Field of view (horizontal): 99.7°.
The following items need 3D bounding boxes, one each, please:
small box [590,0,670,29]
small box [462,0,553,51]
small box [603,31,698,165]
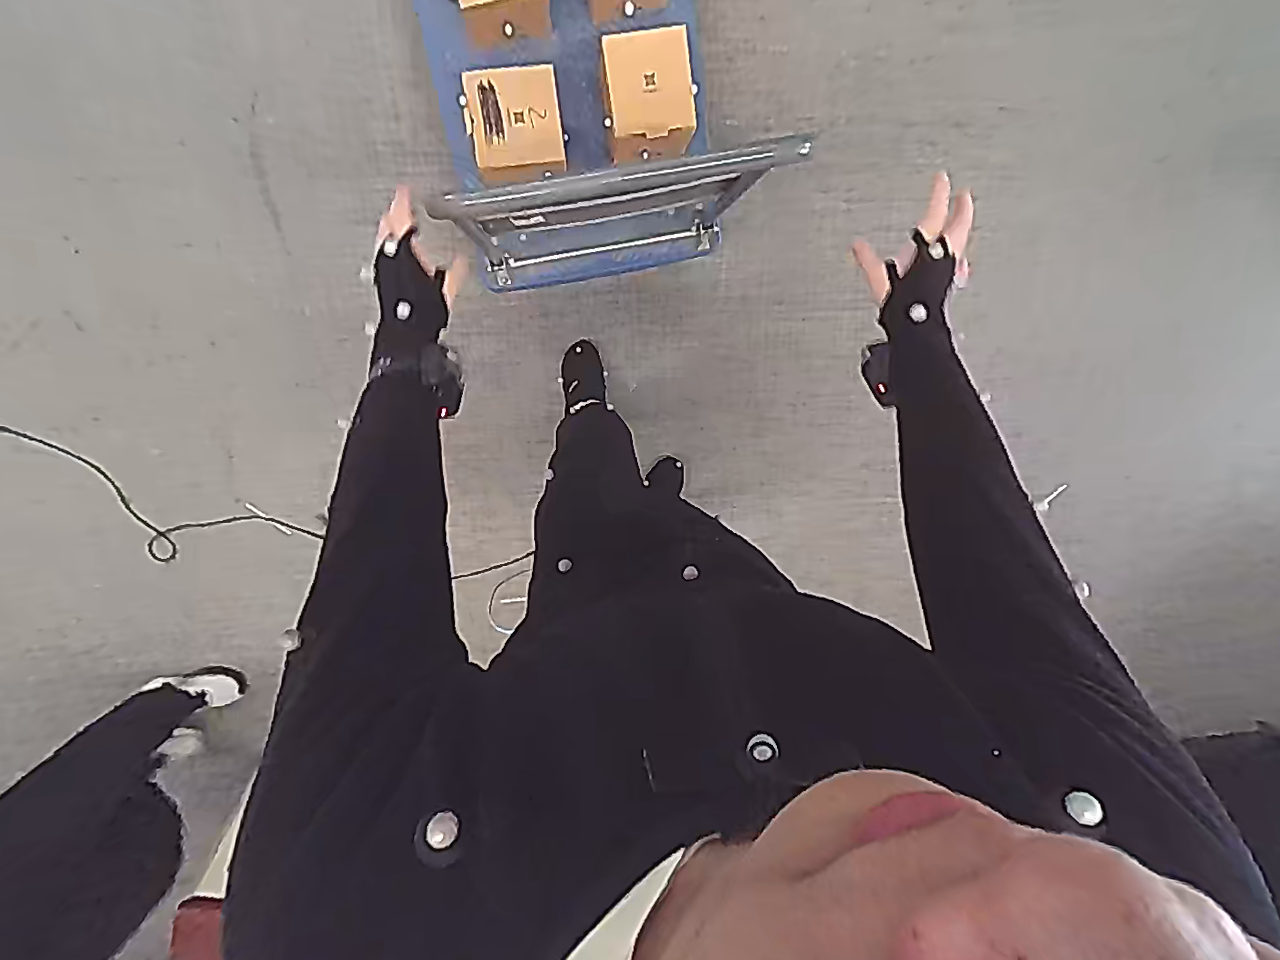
[{"bbox_3d":[-0.031,-1.055,1.073,0.168,0.176,0.179,-14,107,-1],"label":"small box"},{"bbox_3d":[-0.274,-0.990,1.068,0.168,0.176,0.179,-15,106,-2],"label":"small box"},{"bbox_3d":[0.017,-0.799,1.147,0.168,0.176,0.179,-10,106,-3],"label":"small box"}]
